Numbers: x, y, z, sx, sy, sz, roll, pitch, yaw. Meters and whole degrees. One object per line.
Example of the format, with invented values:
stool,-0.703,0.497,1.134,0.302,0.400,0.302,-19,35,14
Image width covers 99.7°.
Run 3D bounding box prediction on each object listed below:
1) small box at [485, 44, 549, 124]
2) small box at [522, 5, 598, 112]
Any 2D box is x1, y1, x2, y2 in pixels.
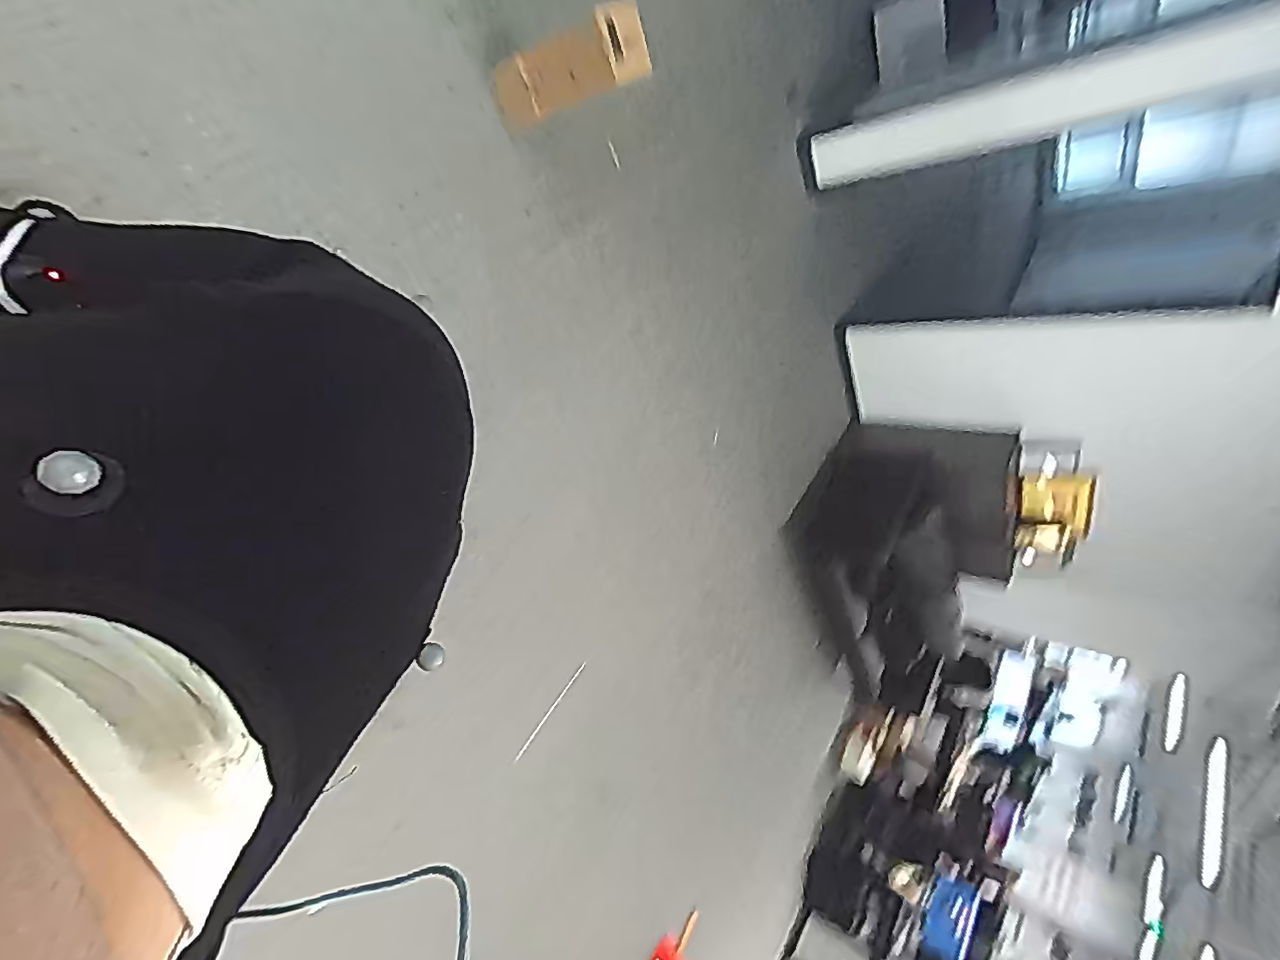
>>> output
small box,-0.366,-1.260,1.713,0.179,0.176,0.168,-47,130,-32
small box,-0.242,-1.251,1.621,0.168,0.176,0.179,-9,105,-45
